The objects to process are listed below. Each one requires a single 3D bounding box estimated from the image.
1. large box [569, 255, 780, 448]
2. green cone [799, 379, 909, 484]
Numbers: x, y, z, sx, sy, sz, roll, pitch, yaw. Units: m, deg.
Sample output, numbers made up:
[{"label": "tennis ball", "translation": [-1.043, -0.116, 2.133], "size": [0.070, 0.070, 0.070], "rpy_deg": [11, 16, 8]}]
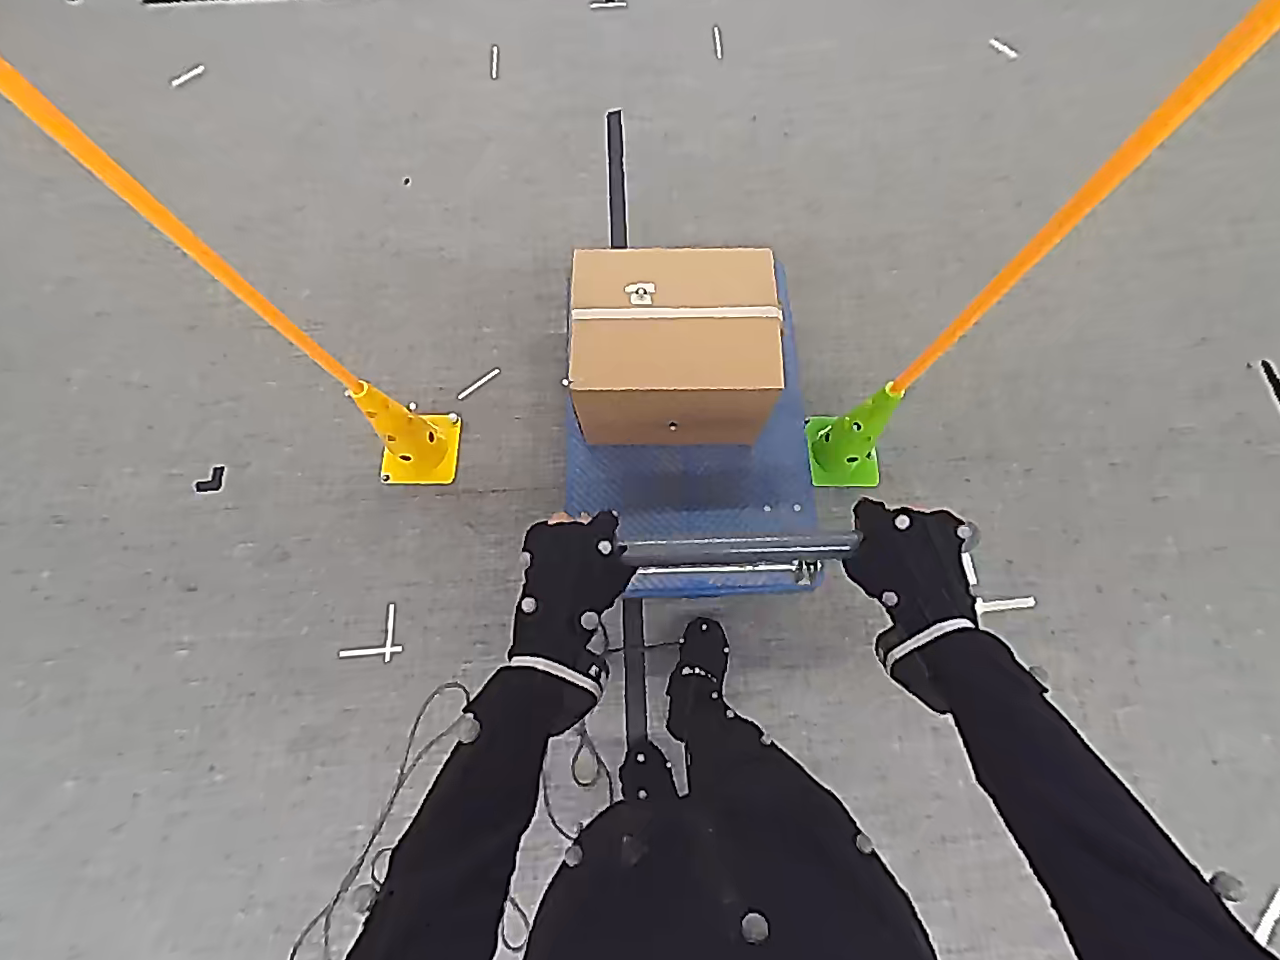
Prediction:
[{"label": "large box", "translation": [0.068, -0.265, 1.198], "size": [0.408, 0.320, 0.320], "rpy_deg": [0, 73, 2]}, {"label": "green cone", "translation": [0.538, -0.137, 1.302], "size": [0.202, 0.368, 0.200], "rpy_deg": [1, 72, 0]}]
